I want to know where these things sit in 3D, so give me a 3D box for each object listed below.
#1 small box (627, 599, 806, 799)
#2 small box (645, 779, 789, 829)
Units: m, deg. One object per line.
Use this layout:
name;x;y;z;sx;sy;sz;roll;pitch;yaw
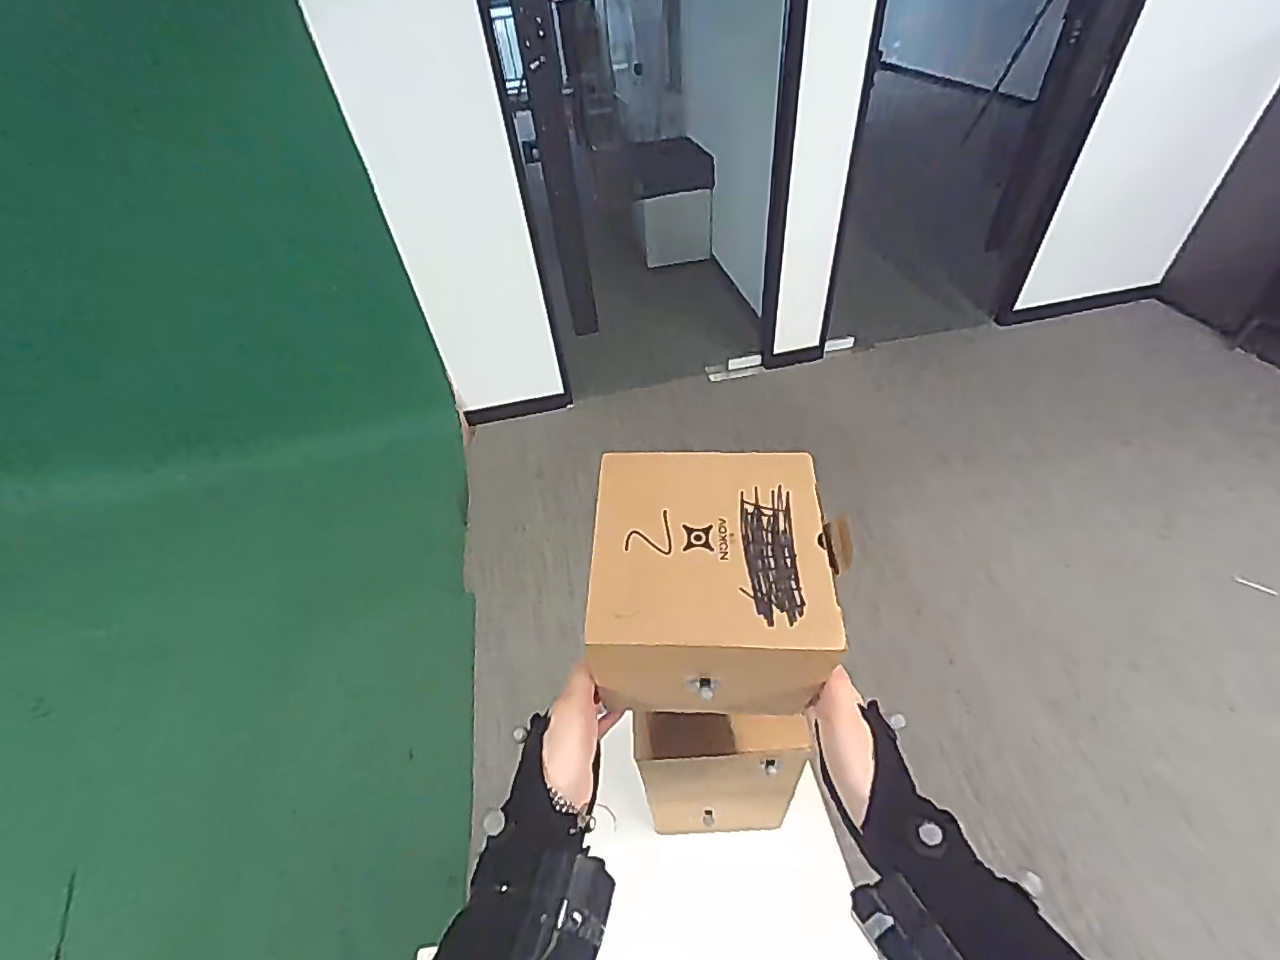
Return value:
small box;0.081;0.261;0.639;0.179;0.176;0.168;-4;45;1
small box;0.099;0.373;0.756;0.179;0.176;0.168;-5;45;3
